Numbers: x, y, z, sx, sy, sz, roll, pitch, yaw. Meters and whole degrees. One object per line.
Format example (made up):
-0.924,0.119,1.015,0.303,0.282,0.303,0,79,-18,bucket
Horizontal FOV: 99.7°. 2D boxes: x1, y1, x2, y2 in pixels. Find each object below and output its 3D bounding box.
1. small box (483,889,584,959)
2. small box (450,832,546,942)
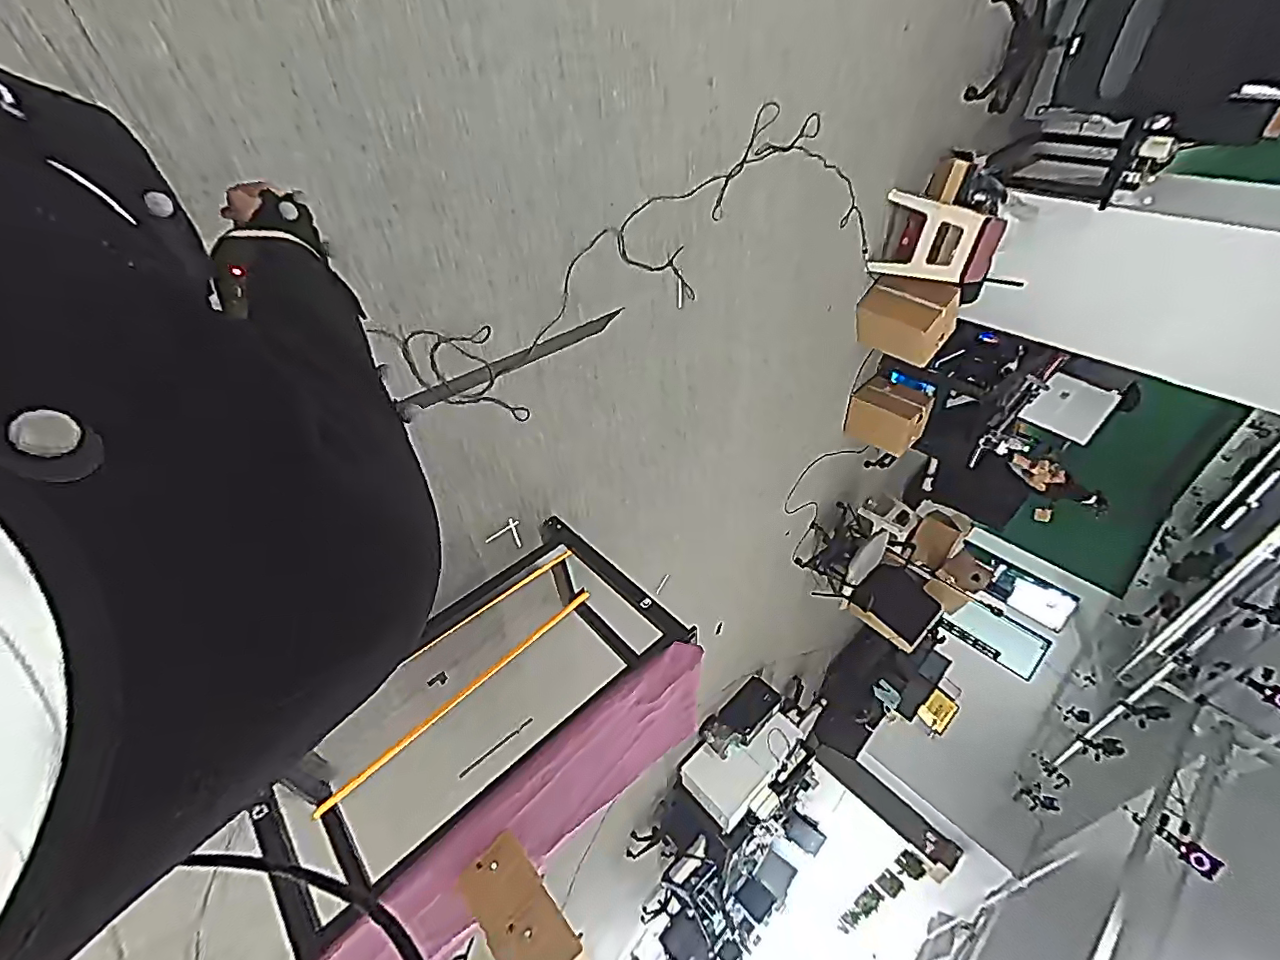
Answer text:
-0.254,1.138,1.302,0.168,0.176,0.179,-33,139,-31,small box
-0.363,1.059,1.398,0.168,0.176,0.179,-33,139,-30,small box
